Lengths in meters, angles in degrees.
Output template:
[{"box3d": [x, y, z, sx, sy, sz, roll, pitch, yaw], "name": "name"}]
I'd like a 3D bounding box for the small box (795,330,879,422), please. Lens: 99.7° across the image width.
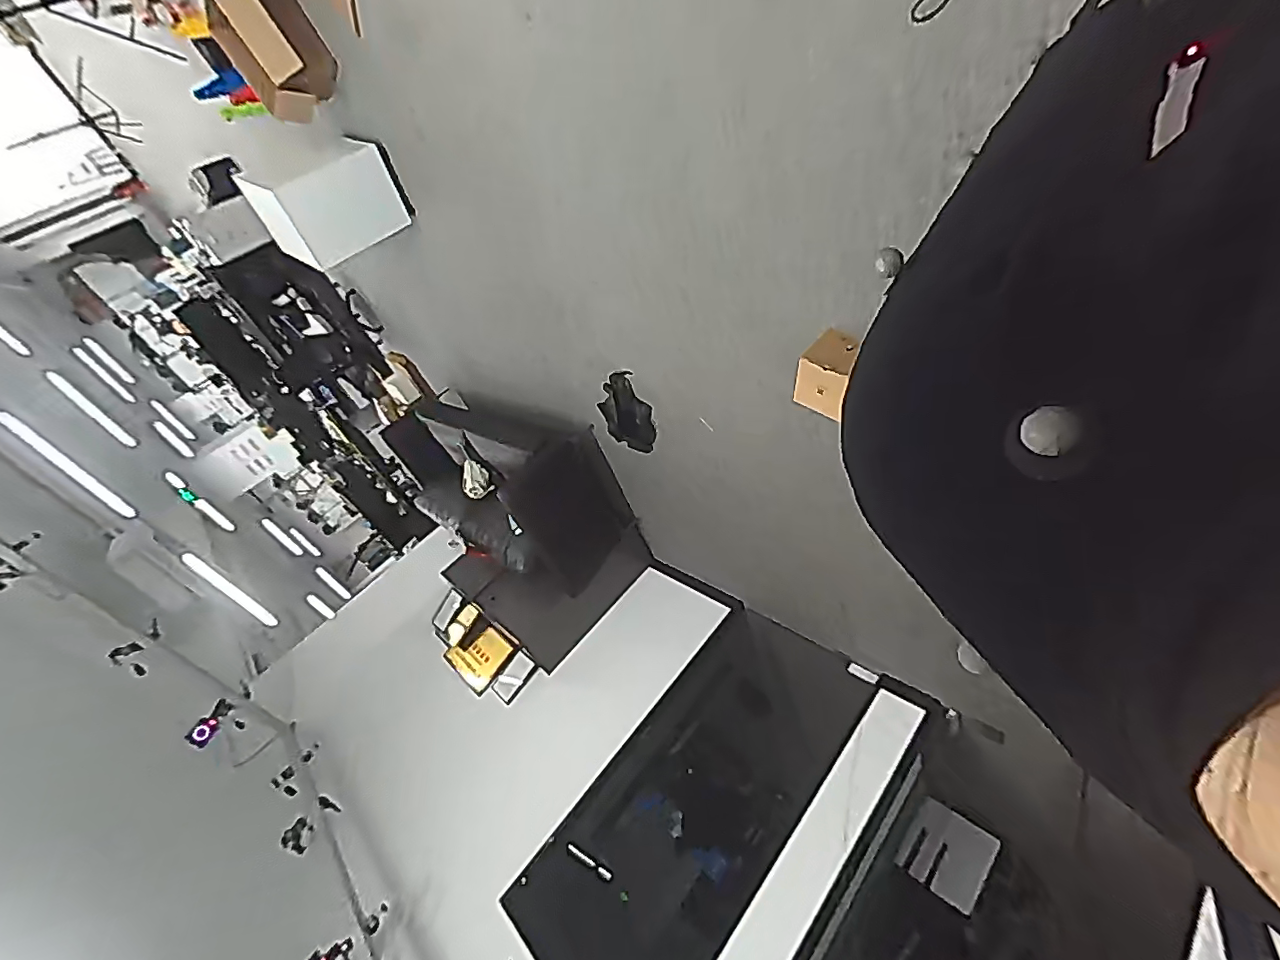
[{"box3d": [0.591, -0.314, 1.623, 0.168, 0.176, 0.179, 33, 153, 29], "name": "small box"}]
